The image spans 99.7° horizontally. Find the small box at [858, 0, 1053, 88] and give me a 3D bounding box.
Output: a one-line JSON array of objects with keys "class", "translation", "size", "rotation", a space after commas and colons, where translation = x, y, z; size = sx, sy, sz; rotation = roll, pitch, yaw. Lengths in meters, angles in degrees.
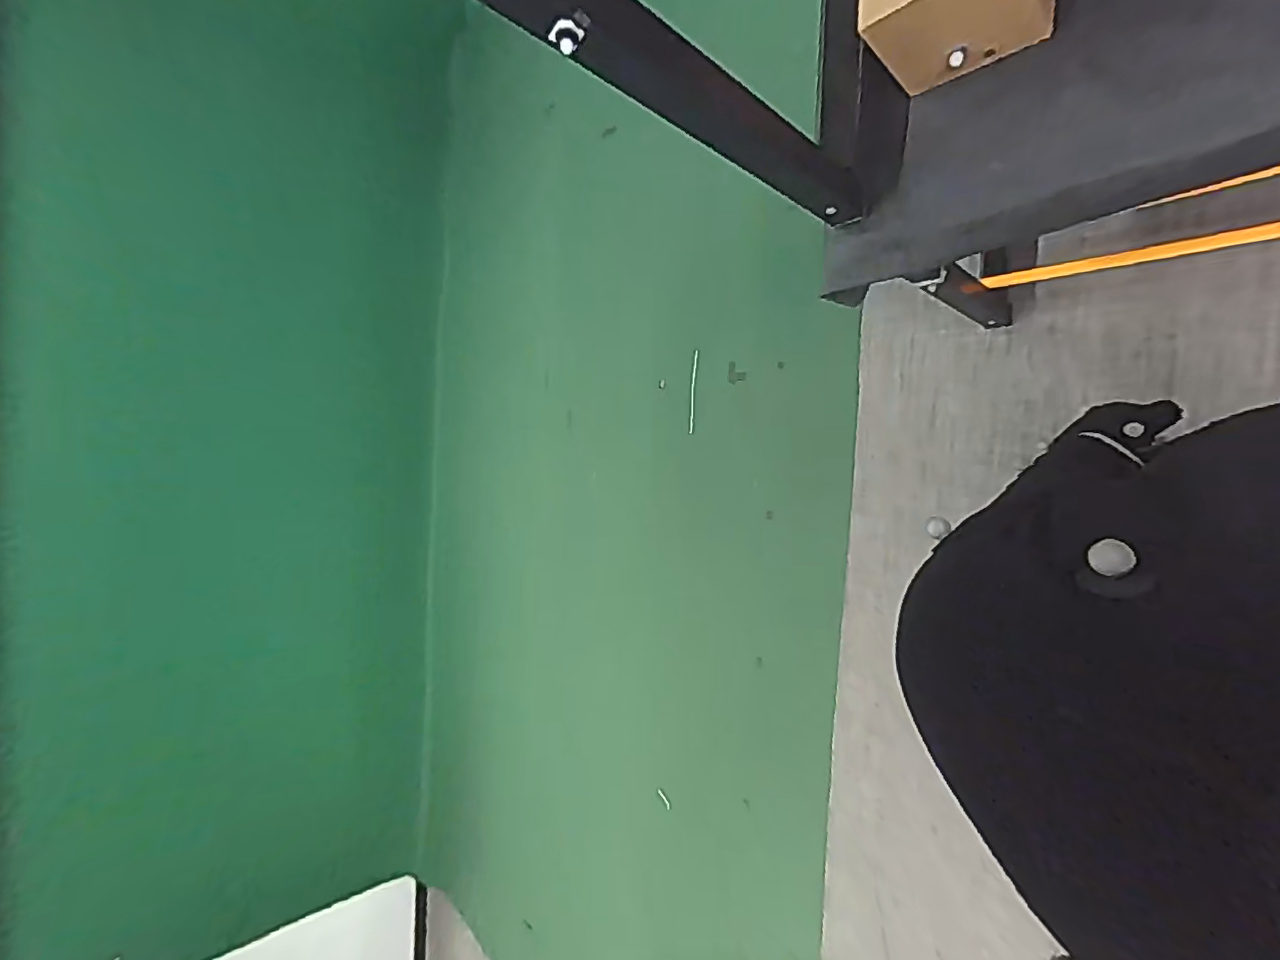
[{"class": "small box", "translation": [0.387, -0.632, 0.653], "size": [0.168, 0.176, 0.179], "rotation": [6, 95, 48]}]
